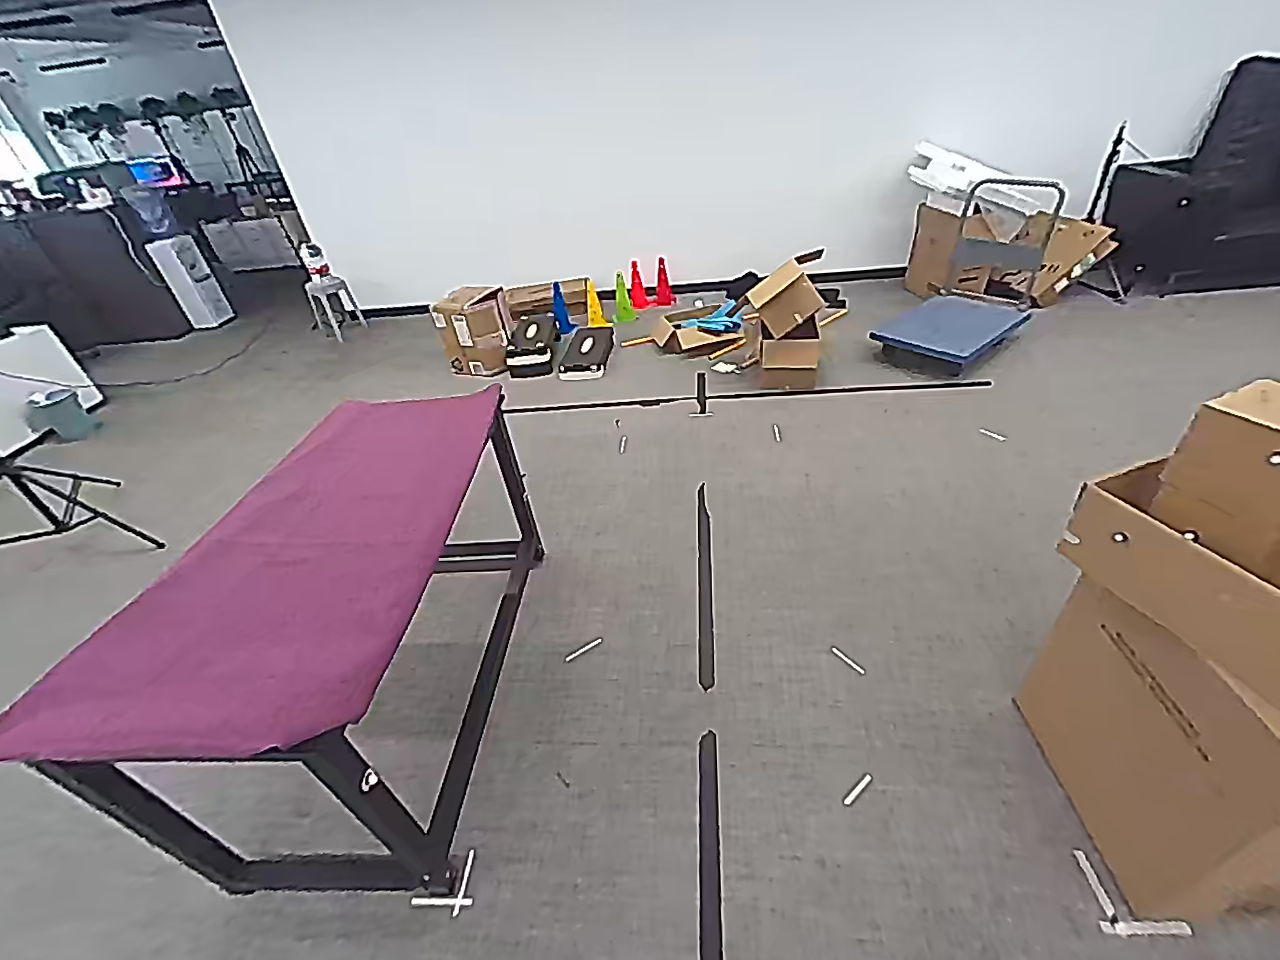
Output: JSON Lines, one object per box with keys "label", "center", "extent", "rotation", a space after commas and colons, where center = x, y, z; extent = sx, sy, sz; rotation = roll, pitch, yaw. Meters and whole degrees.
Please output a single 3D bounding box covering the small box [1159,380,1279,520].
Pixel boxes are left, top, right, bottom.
{"label": "small box", "center": [1.092, -0.049, 0.949], "extent": [0.168, 0.176, 0.179], "rotation": [-18, 37, -14]}
